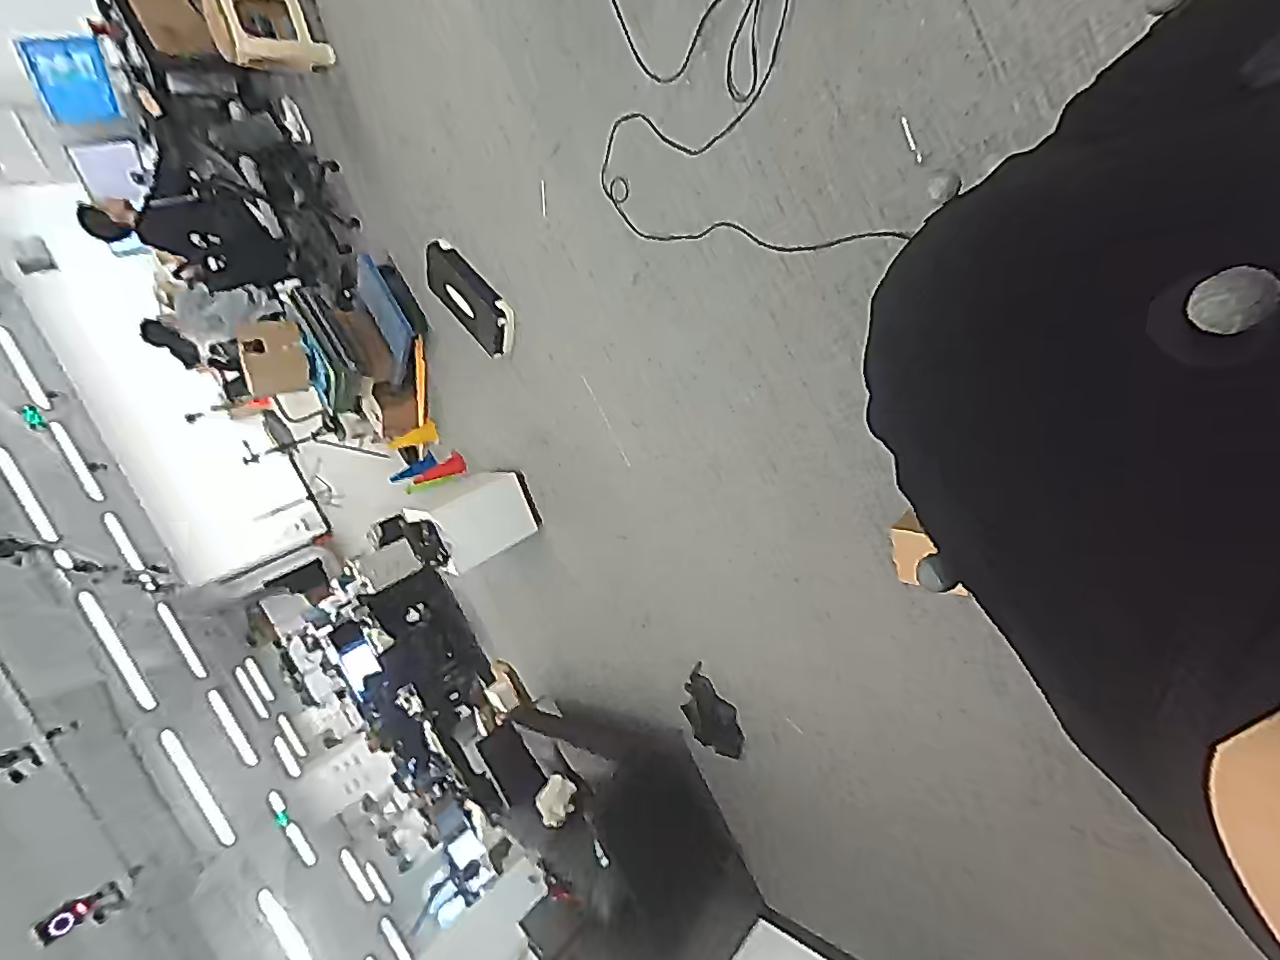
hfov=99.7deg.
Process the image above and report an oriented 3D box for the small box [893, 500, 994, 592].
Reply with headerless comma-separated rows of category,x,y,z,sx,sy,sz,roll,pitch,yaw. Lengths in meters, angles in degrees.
small box,0.791,0.163,1.405,0.179,0.176,0.168,5,119,49
